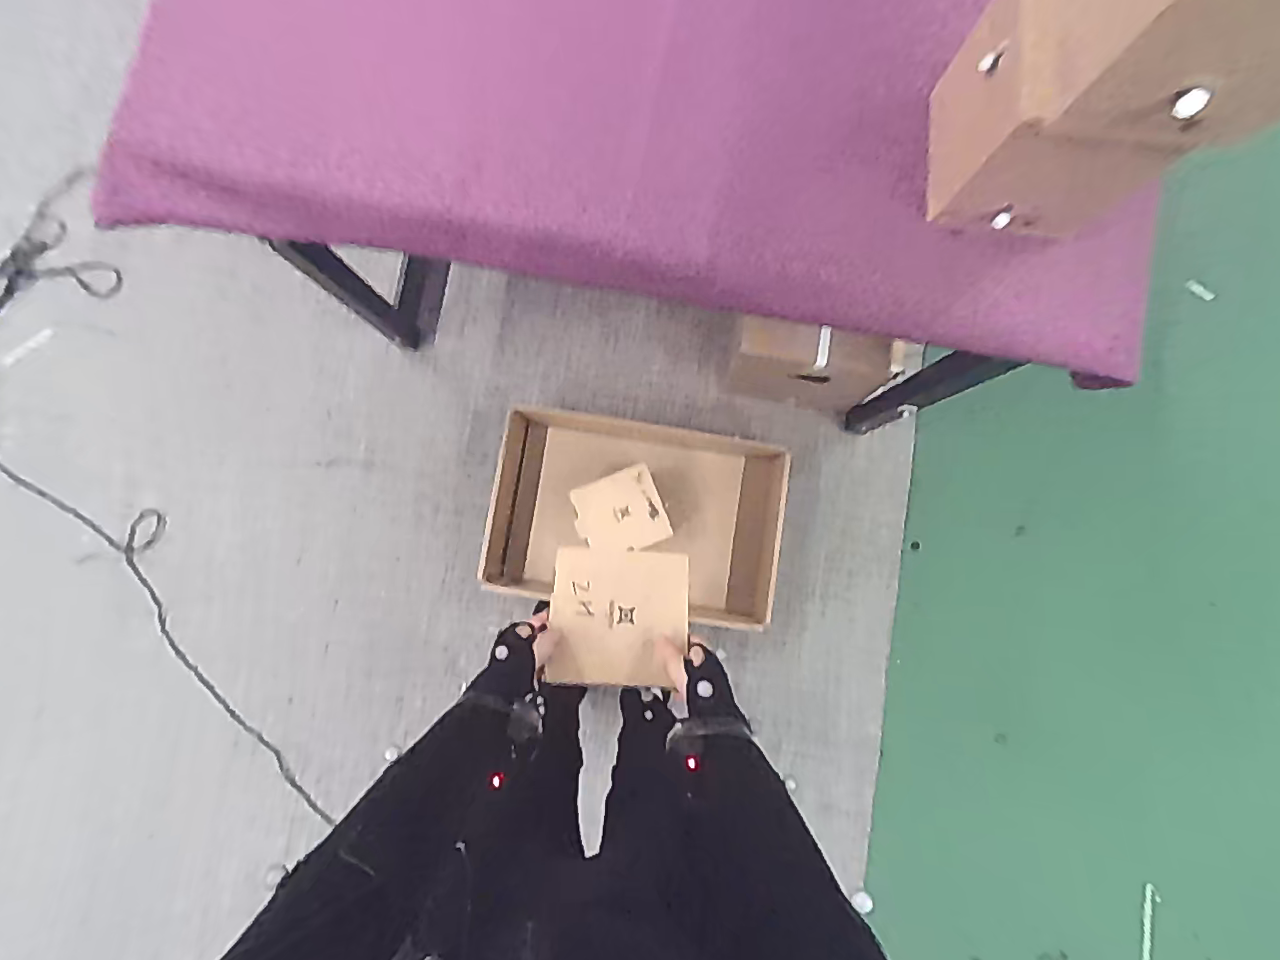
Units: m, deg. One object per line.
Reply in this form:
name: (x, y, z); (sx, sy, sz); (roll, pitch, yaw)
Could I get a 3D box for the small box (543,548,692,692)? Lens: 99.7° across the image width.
small box: (-0.028, 0.198, 0.741); (0.179, 0.176, 0.168); (3, 68, -1)

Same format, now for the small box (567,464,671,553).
small box: (-0.041, 0.081, 1.187); (0.179, 0.176, 0.168); (-21, 85, -2)
